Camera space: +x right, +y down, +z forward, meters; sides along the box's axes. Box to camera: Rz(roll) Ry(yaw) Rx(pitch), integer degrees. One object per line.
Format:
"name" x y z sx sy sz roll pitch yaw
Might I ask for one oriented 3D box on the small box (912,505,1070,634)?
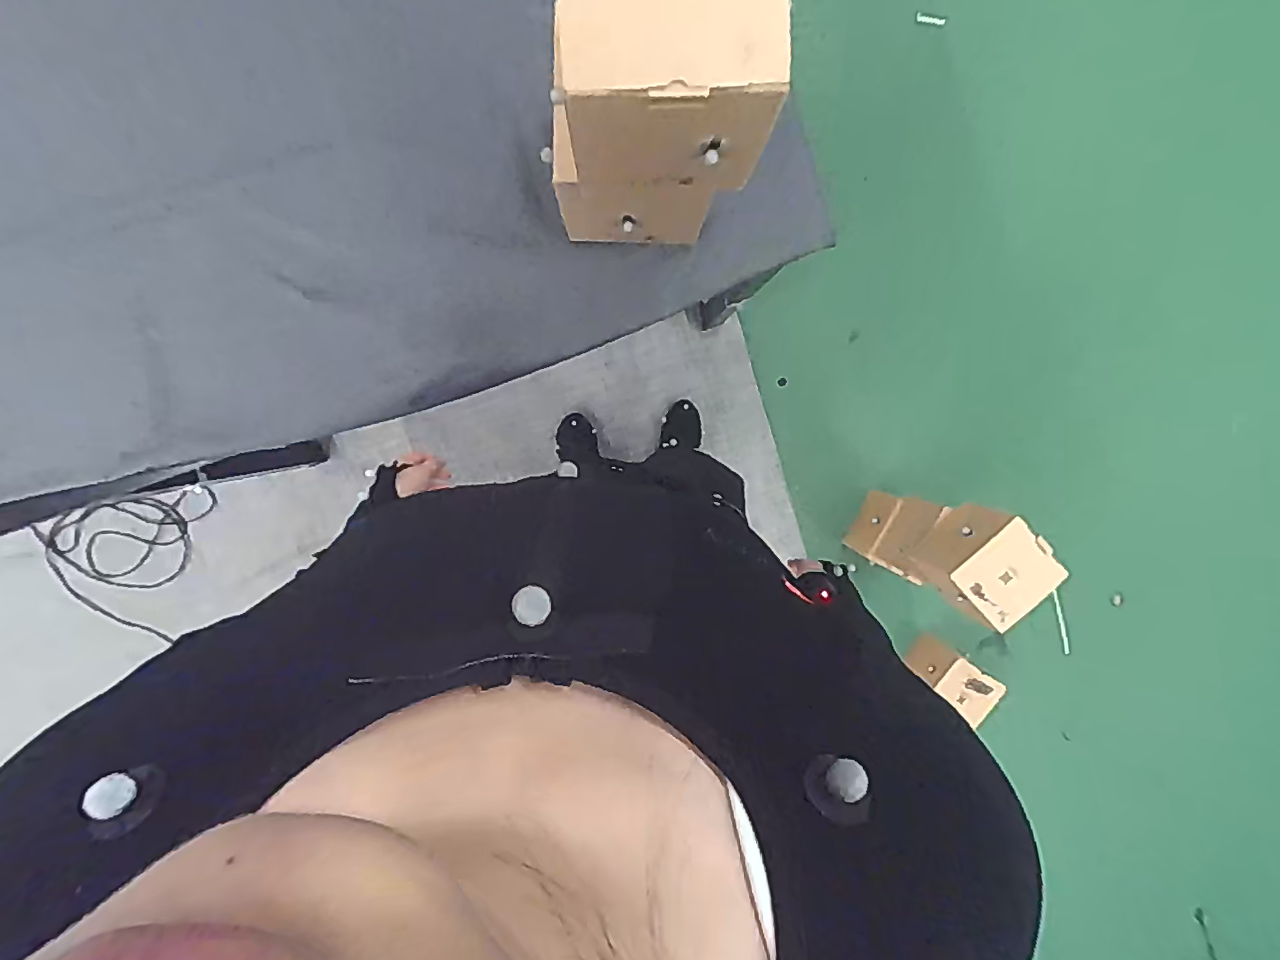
"small box" 0.707 0.173 1.111 0.179 0.176 0.168 -44 96 4

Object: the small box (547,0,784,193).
"small box" 0.014 -0.359 0.450 0.168 0.176 0.179 -4 95 -2

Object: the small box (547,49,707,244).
"small box" -0.010 -0.381 0.610 0.168 0.176 0.179 1 95 -2

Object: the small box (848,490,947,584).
"small box" 0.683 0.145 1.438 0.168 0.176 0.179 27 95 -4

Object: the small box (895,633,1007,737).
"small box" 0.848 0.556 1.494 0.168 0.176 0.179 33 96 -5
